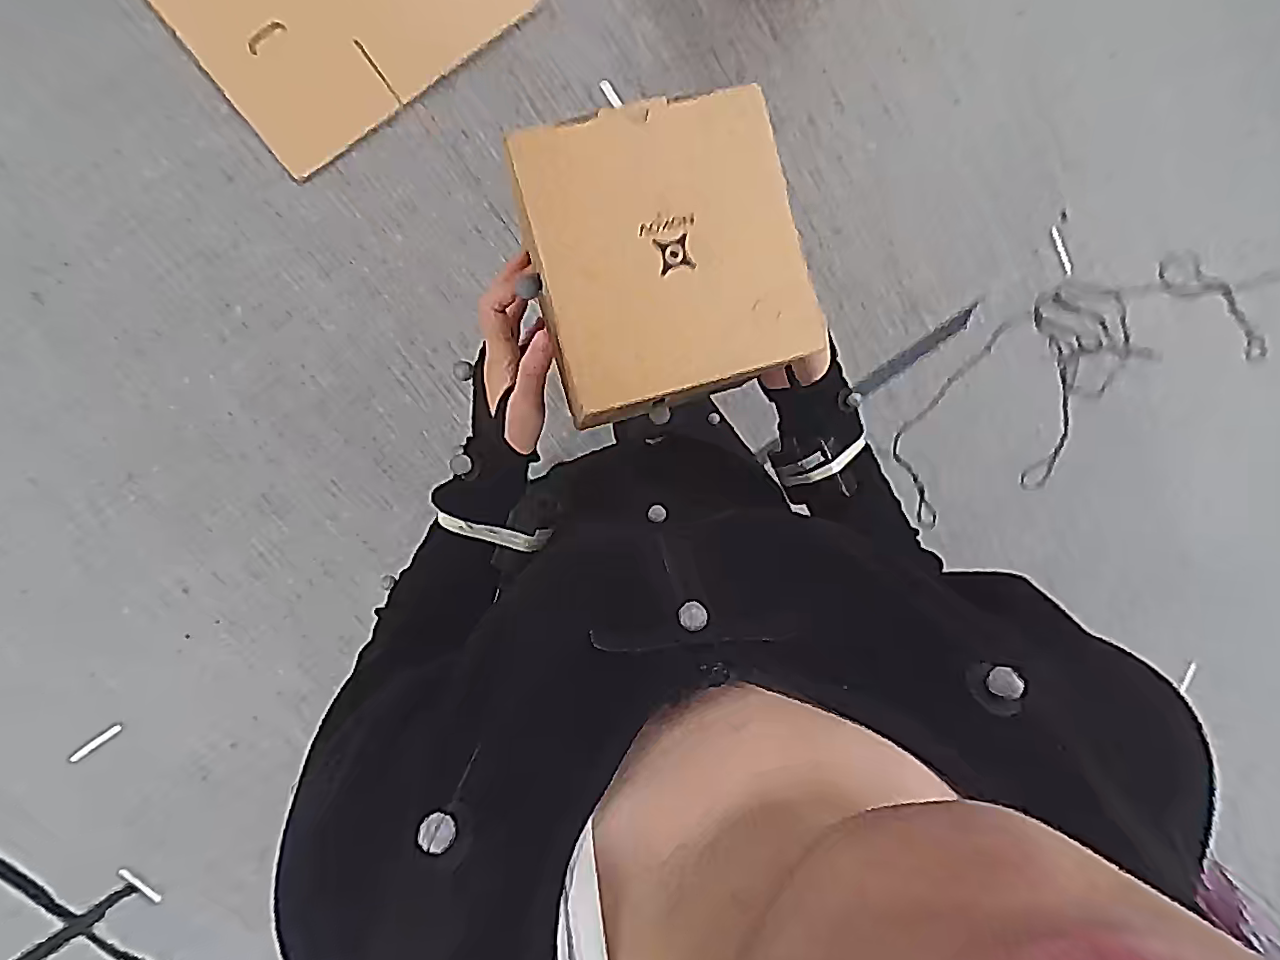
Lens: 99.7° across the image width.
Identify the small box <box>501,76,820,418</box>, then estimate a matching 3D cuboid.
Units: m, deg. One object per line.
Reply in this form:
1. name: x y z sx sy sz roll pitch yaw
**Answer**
1. small box: 0.008 -0.151 0.416 0.168 0.176 0.179 -17 93 -6
